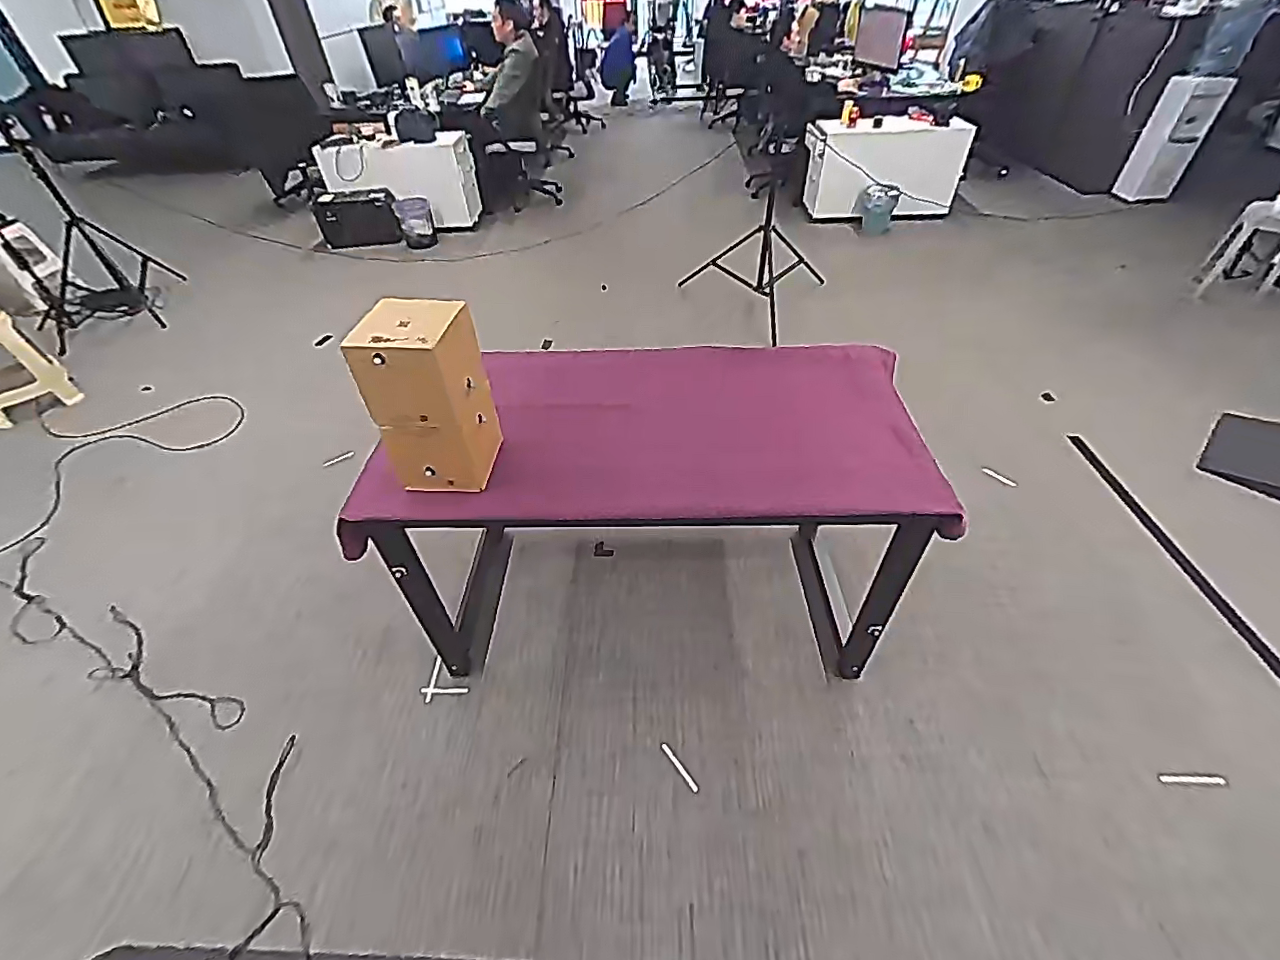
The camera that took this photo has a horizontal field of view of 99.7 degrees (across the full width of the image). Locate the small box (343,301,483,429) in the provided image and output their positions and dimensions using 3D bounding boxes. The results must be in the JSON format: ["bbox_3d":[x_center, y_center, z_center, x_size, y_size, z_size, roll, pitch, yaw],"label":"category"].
[{"bbox_3d":[-0.406,-0.216,1.006,0.168,0.176,0.179,3,43,5],"label":"small box"}]

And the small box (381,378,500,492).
[{"bbox_3d":[-0.398,-0.096,1.118,0.168,0.176,0.179,1,43,3],"label":"small box"}]
